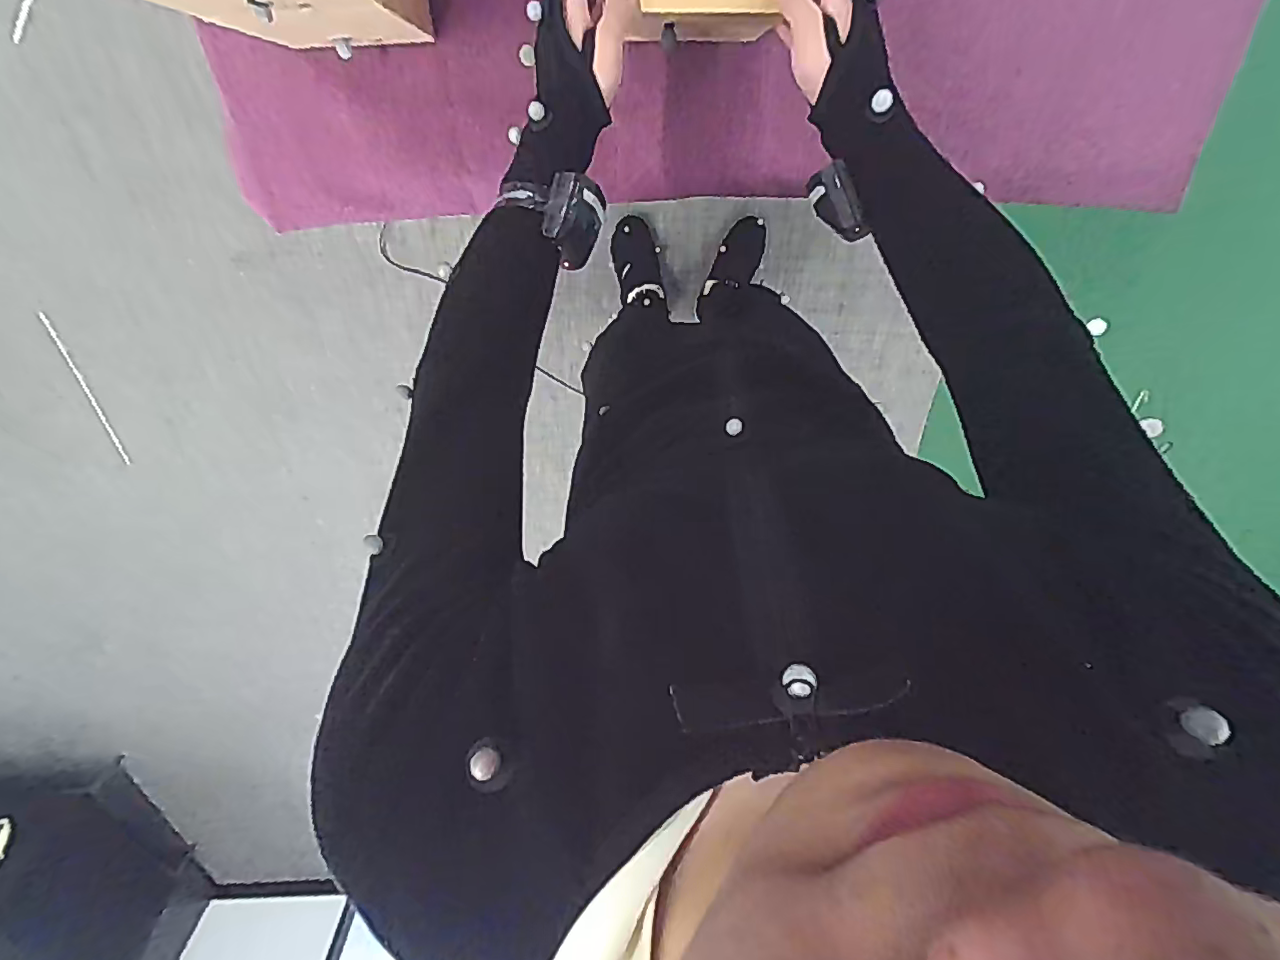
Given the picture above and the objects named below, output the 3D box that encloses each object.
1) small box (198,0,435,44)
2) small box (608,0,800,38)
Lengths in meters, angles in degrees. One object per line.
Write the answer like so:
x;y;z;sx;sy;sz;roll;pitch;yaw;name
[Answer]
-0.306;-0.527;0.494;0.168;0.176;0.179;-3;122;-1;small box
0.054;-0.513;0.479;0.168;0.176;0.179;-1;121;-2;small box
